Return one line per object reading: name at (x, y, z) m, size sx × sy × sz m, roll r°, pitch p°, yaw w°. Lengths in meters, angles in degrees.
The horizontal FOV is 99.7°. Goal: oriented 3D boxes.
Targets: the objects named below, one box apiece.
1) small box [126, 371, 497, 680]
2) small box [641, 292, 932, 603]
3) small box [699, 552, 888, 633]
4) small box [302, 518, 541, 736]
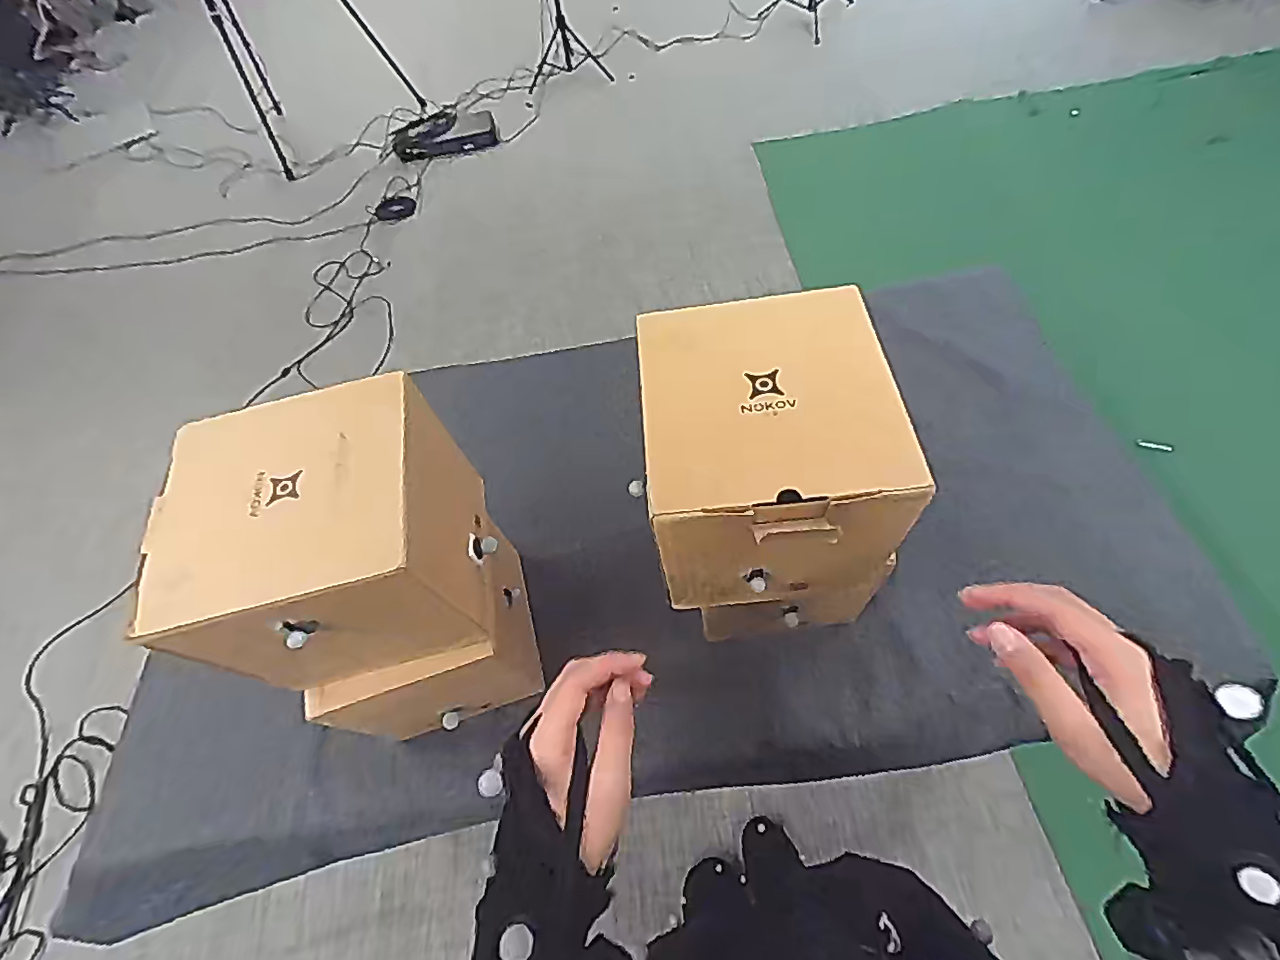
small box at (-0.231, 0.046, 0.432) m, size 0.179 × 0.176 × 0.168 m, roll -14°, pitch 60°, yaw -3°
small box at (0.092, -0.018, 0.429) m, size 0.168 × 0.176 × 0.179 m, roll -6°, pitch 59°, yaw 4°
small box at (0.134, 0.053, 0.573) m, size 0.168 × 0.176 × 0.179 m, roll -10°, pitch 58°, yaw 3°
small box at (-0.215, 0.144, 0.561) m, size 0.168 × 0.176 × 0.179 m, roll -18°, pitch 59°, yaw -4°
